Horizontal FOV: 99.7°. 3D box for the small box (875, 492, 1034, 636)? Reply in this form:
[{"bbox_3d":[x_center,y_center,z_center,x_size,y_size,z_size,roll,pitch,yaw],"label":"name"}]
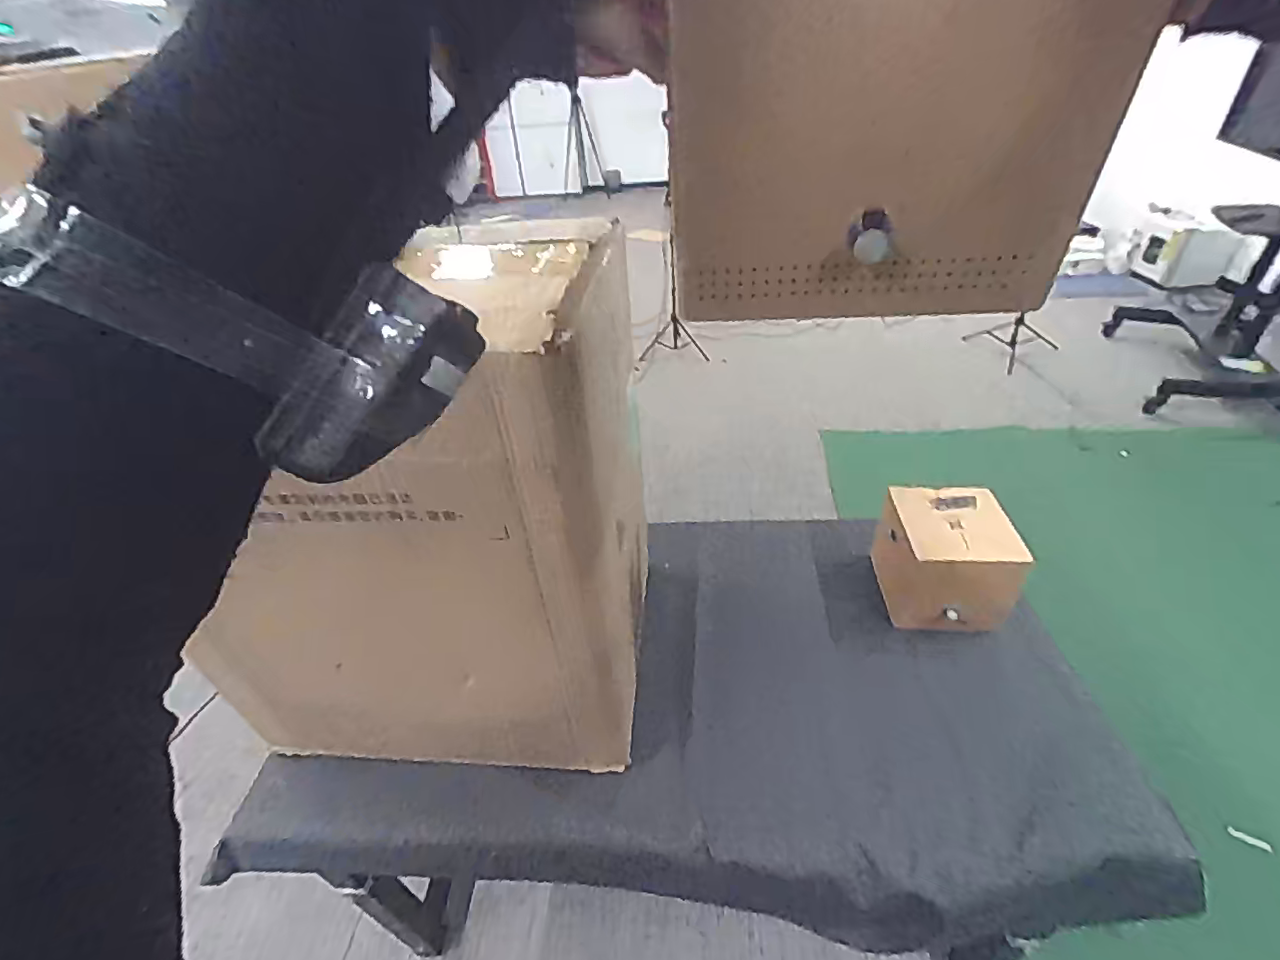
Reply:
[{"bbox_3d":[0.515,0.139,0.920,0.168,0.176,0.179,0,38,8],"label":"small box"}]

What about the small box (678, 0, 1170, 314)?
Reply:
[{"bbox_3d":[0.113,-0.197,0.277,0.179,0.176,0.168,1,43,8],"label":"small box"}]
